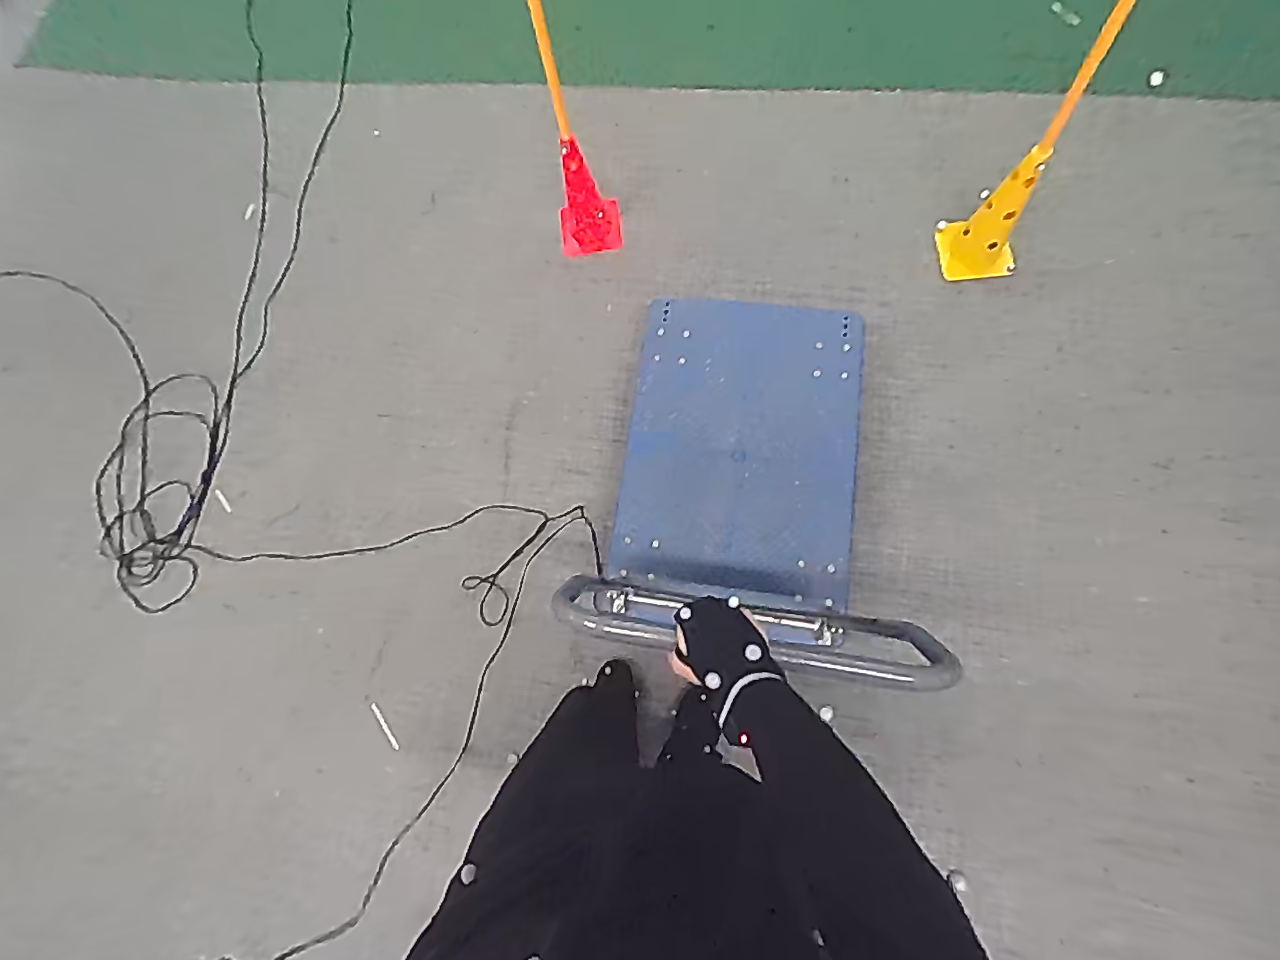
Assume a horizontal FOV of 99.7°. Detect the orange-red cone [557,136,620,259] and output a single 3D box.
[{"bbox_3d":[-0.188,-0.870,1.629,0.199,0.360,0.198,-8,74,6],"label":"orange-red cone"}]
